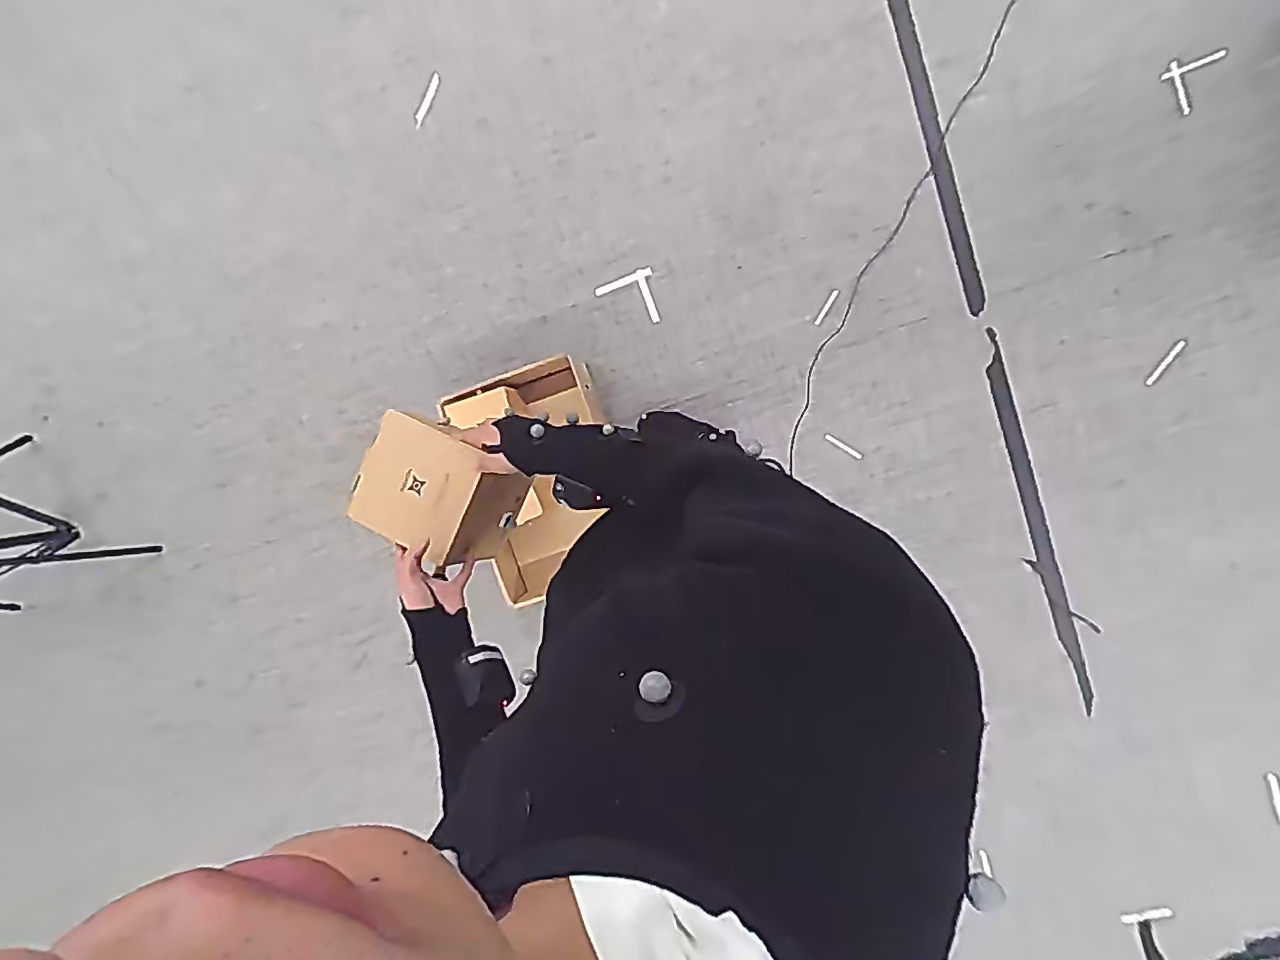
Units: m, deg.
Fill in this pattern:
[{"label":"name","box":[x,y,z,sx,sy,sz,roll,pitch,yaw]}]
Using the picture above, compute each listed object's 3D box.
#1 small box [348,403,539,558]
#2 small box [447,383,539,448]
[{"label":"small box","box":[-0.284,0.004,0.814,0.179,0.176,0.168,24,92,12]},{"label":"small box","box":[-0.407,-0.162,1.523,0.179,0.176,0.168,-18,94,5]}]
